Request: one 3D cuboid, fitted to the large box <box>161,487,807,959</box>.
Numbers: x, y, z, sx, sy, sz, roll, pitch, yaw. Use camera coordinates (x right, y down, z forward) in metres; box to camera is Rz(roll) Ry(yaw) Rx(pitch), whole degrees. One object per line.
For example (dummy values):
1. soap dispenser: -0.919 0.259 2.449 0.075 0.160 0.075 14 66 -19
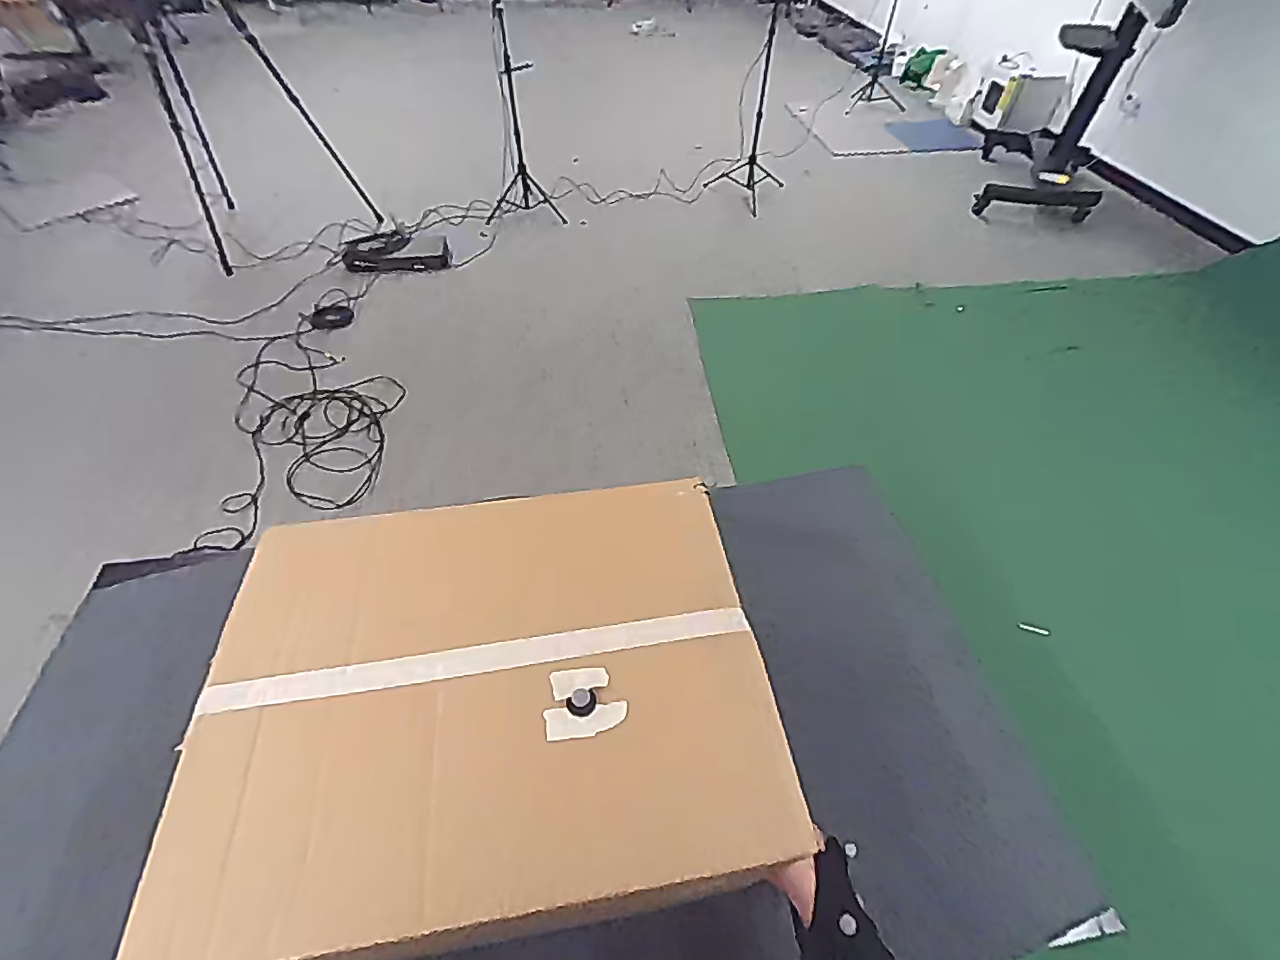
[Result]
1. large box: -0.111 0.242 0.540 0.408 0.320 0.320 -7 50 -7
